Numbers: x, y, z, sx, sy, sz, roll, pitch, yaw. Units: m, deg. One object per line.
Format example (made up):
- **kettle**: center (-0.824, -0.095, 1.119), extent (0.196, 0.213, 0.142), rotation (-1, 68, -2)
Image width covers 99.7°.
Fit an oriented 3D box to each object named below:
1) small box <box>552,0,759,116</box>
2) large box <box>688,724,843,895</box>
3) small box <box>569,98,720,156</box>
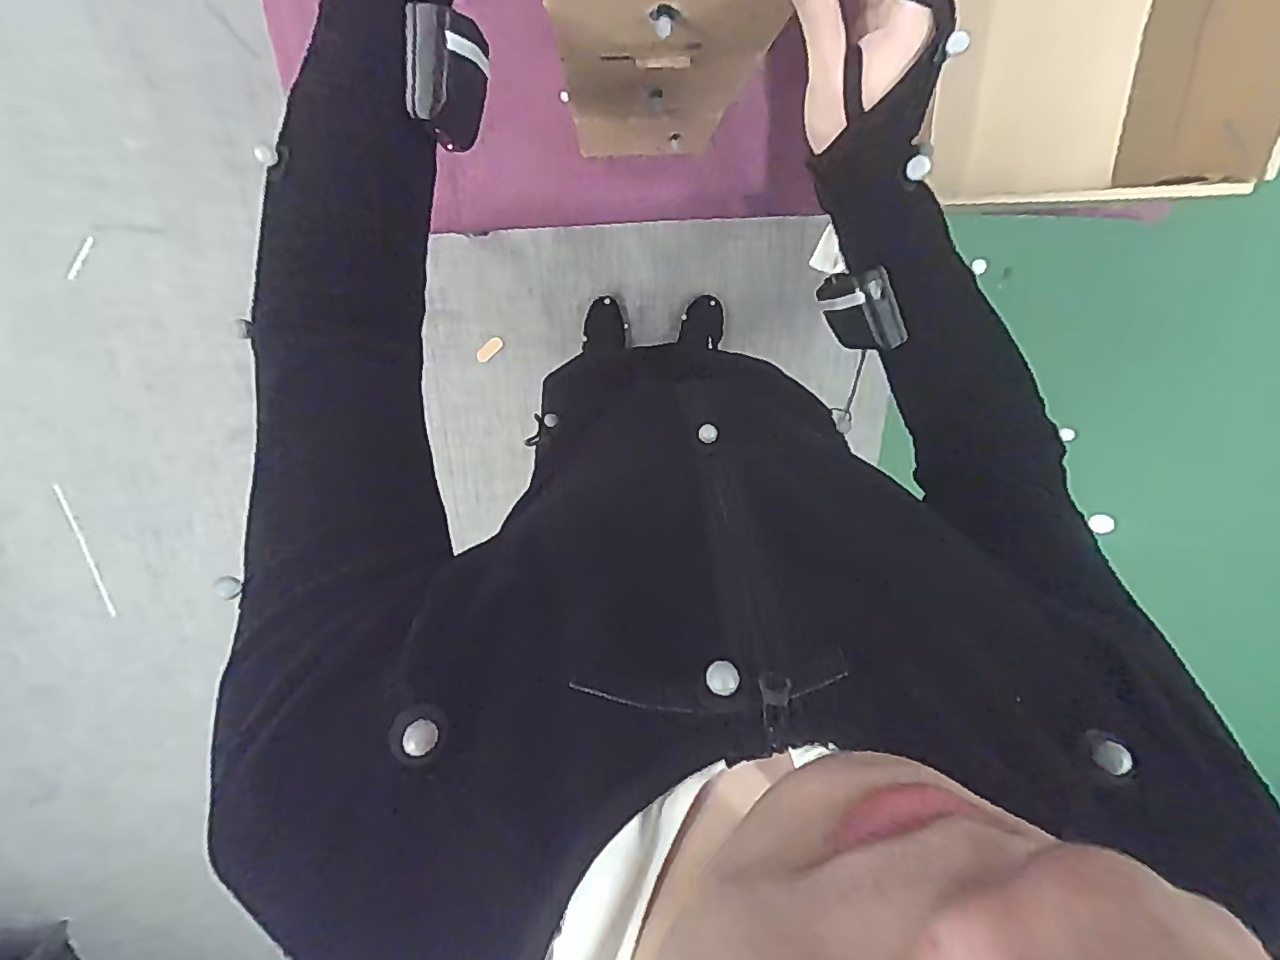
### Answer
- **small box**: center (0.009, -0.443, 0.481), extent (0.168, 0.176, 0.179), rotation (-3, 110, -2)
- **large box**: center (0.434, 1.177, 1.951), extent (0.408, 0.320, 0.320), rotation (-34, 108, 9)
- **small box**: center (0.002, -0.494, 0.635), extent (0.168, 0.176, 0.179), rotation (-3, 109, -2)
